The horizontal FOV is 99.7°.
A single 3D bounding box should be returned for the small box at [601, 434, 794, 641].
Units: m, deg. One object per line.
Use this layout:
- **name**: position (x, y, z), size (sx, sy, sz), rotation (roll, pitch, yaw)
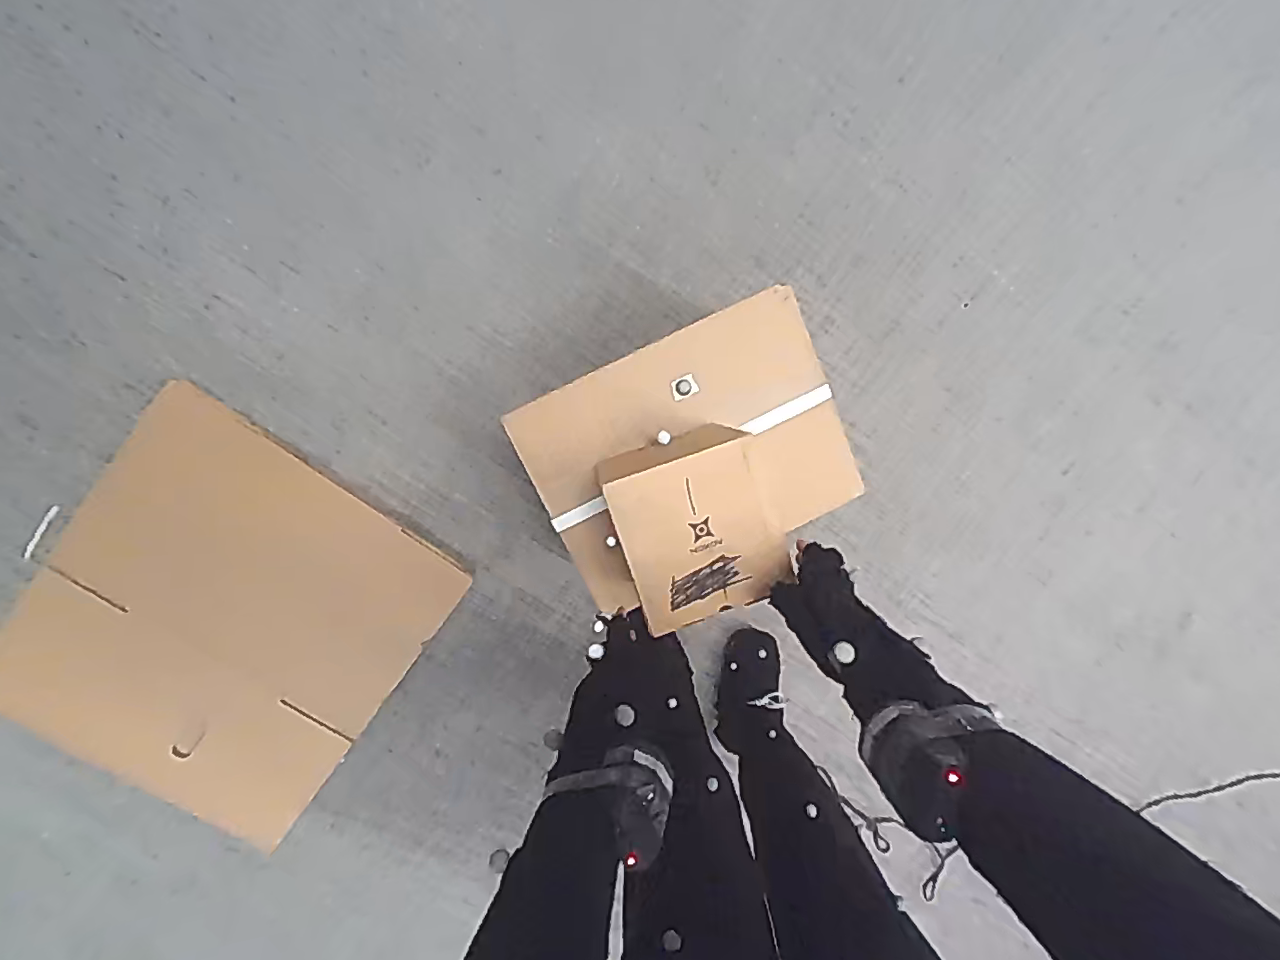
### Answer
- **small box**: position (0.057, 0.055, 0.641), size (0.168, 0.176, 0.179), rotation (-19, 99, -3)
